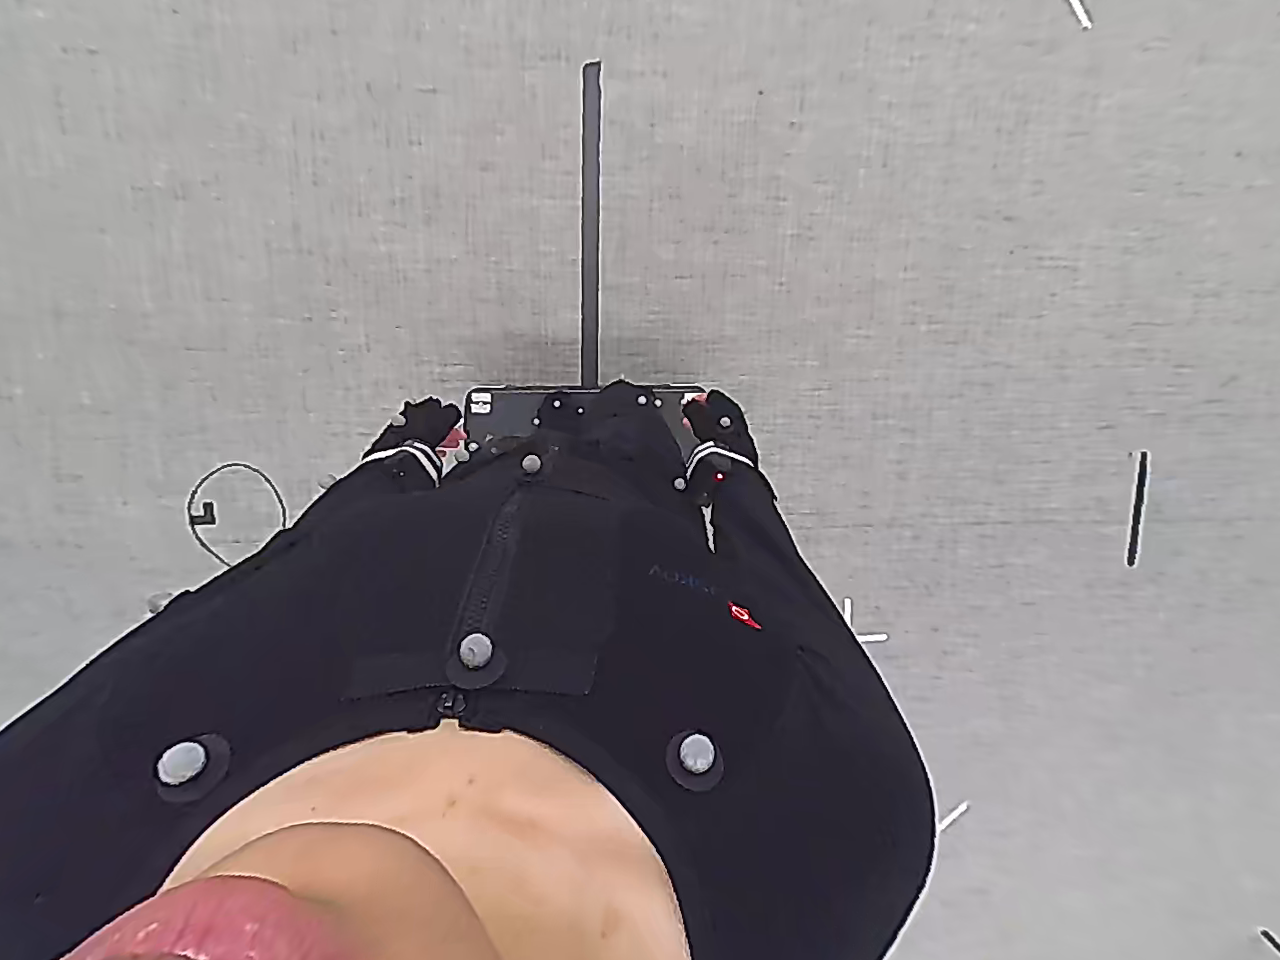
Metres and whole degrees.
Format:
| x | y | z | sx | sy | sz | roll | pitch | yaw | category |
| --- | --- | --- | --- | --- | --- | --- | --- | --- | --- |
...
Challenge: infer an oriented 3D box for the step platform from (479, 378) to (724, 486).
| x | y | z | sx | sy | sz | roll | pitch | yaw | category |
| --- | --- | --- | --- | --- | --- | --- | --- | --- | --- |
| -0.104 | -0.140 | 1.546 | 0.684 | 0.204 | 0.286 | -2 | 99 | -5 | step platform |
